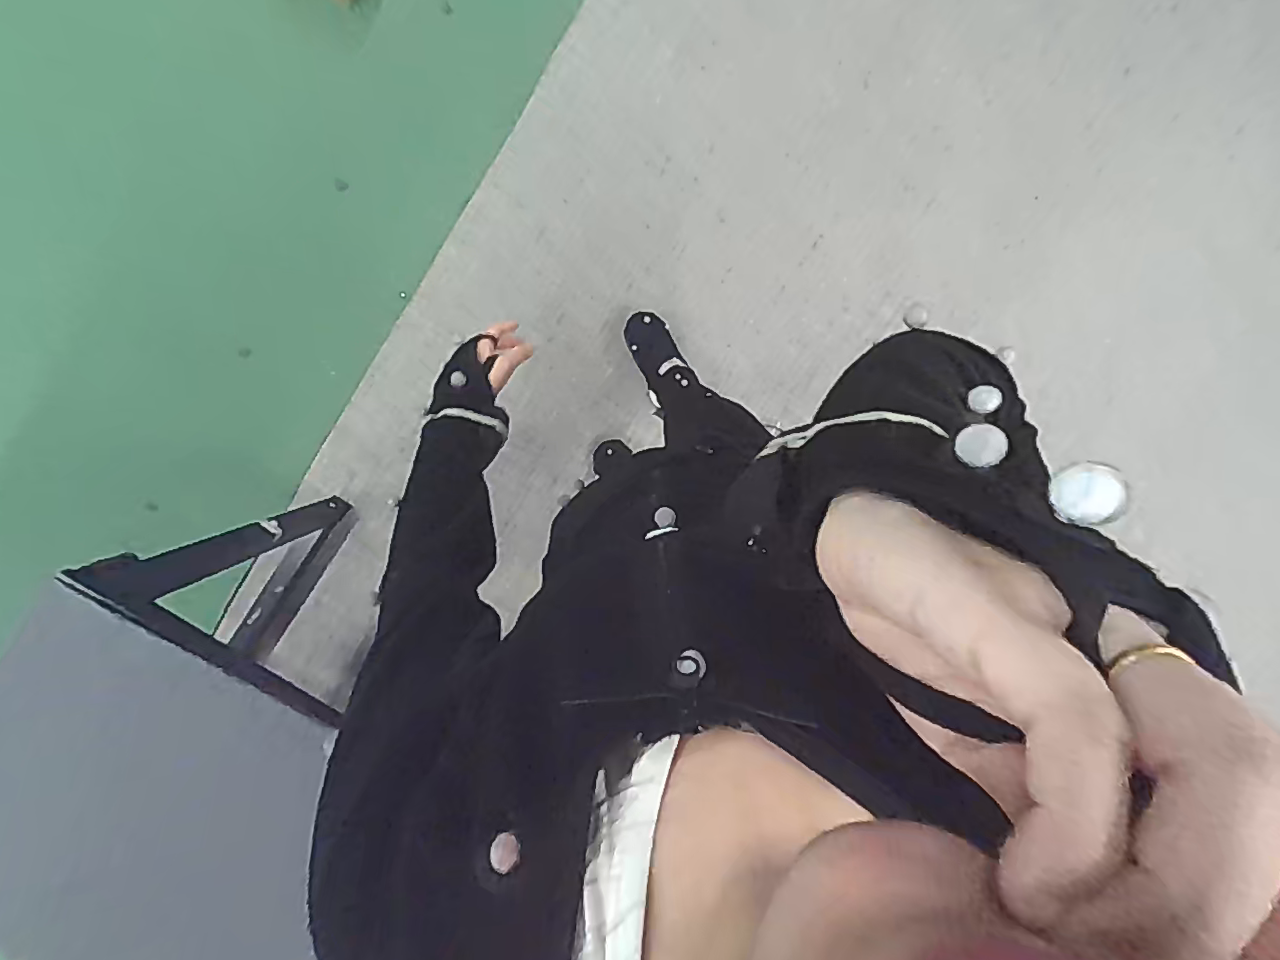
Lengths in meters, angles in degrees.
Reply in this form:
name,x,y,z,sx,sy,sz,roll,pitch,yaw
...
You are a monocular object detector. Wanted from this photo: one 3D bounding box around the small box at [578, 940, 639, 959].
name,x,y,z,sx,sy,sz,roll,pitch,yaw
small box,-0.050,0.842,0.786,0.168,0.176,0.179,33,96,-7
